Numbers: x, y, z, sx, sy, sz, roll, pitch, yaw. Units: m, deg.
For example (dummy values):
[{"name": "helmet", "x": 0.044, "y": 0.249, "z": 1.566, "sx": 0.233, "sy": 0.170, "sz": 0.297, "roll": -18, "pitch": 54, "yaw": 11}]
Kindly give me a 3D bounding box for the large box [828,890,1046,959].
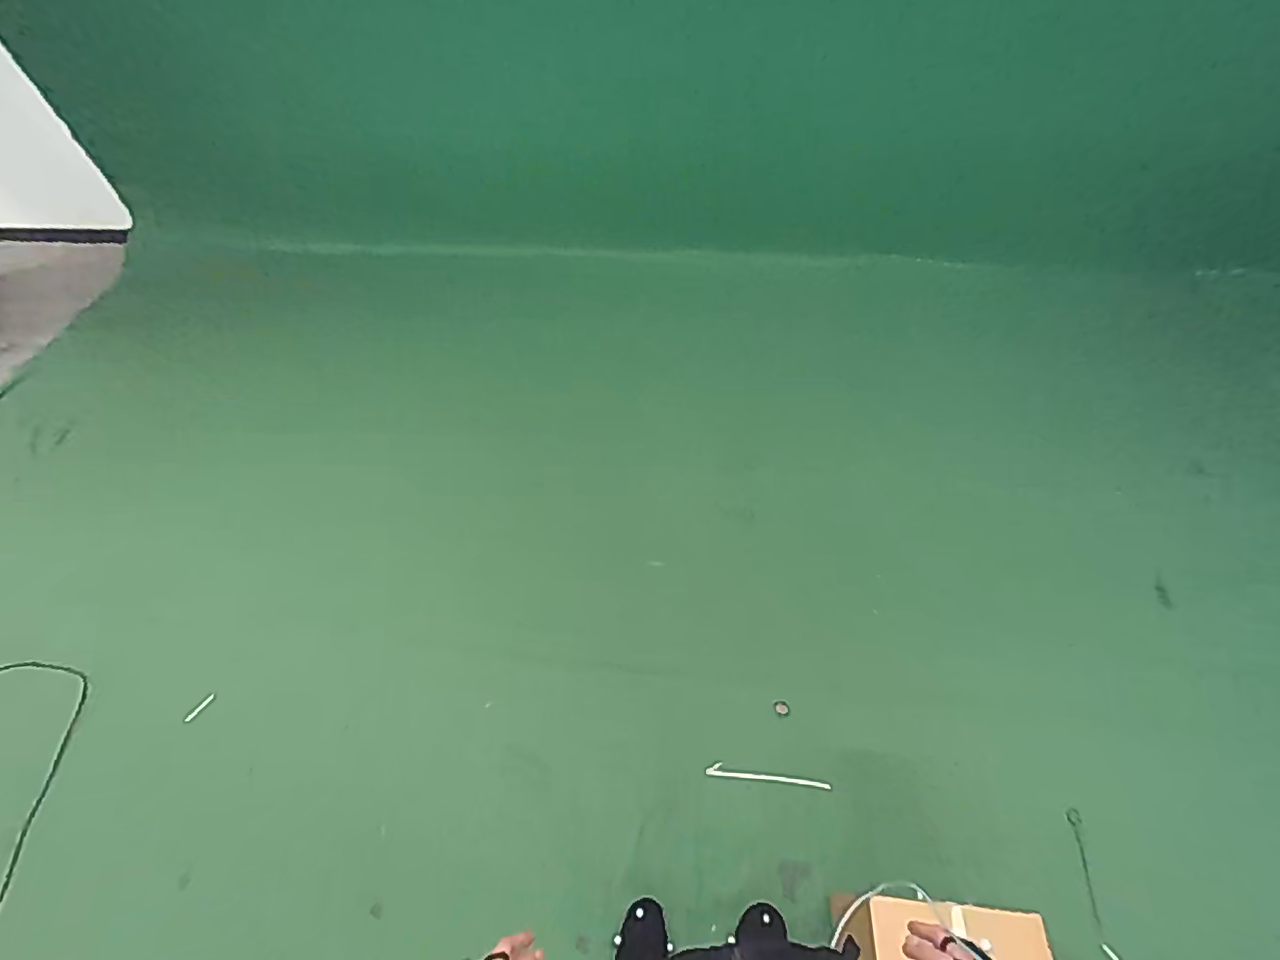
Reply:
[{"name": "large box", "x": 0.575, "y": 1.049, "z": 1.032, "sx": 0.320, "sy": 0.320, "sz": 0.408, "roll": 3, "pitch": 55, "yaw": 5}]
